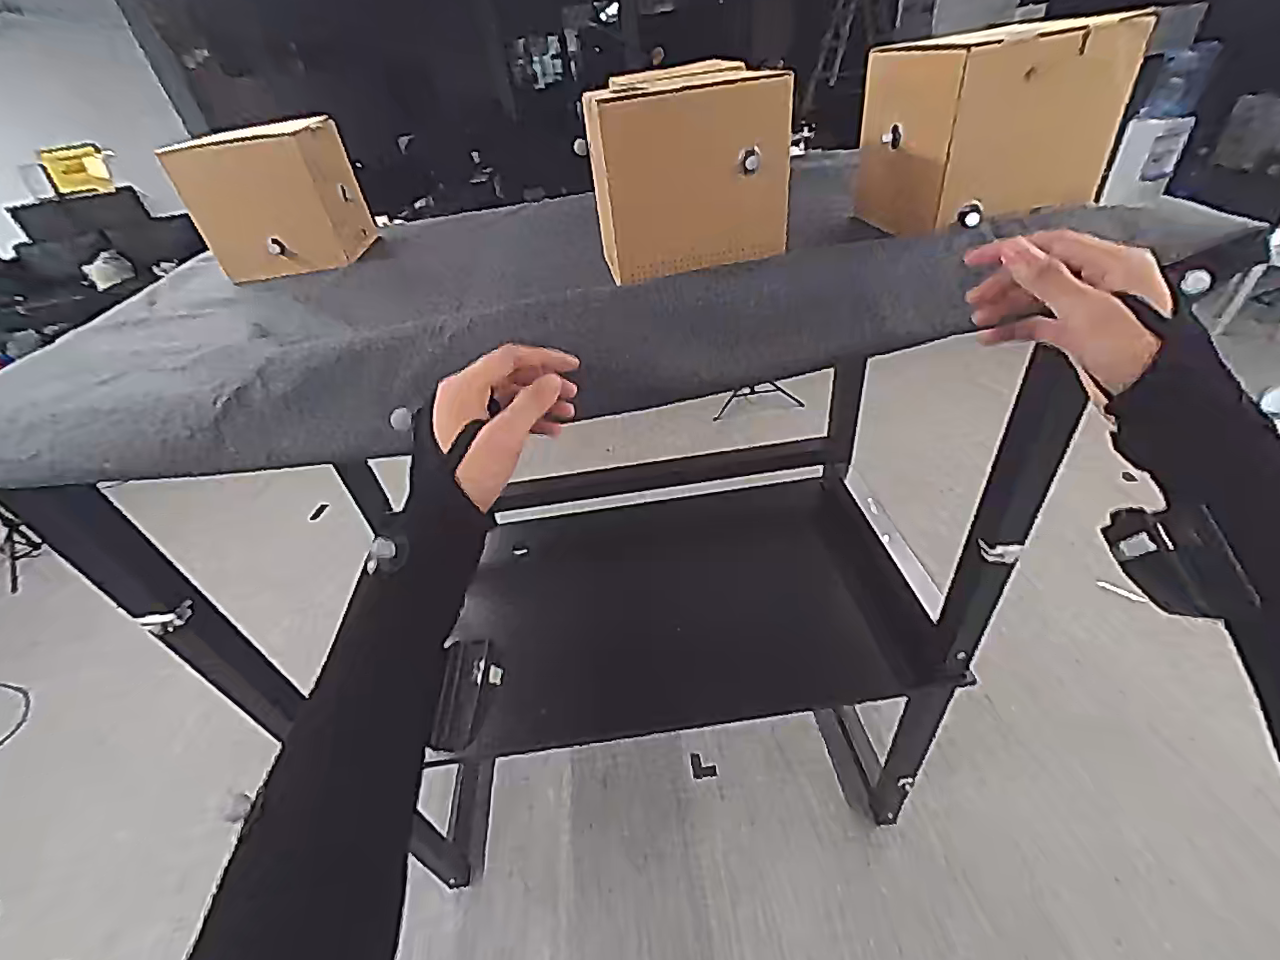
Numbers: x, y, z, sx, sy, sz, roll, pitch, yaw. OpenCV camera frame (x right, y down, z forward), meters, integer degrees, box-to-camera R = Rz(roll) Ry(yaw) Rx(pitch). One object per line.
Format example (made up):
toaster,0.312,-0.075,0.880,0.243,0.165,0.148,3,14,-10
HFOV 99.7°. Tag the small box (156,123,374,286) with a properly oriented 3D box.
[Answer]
small box,-0.517,-0.399,0.783,0.179,0.176,0.168,-9,39,-2

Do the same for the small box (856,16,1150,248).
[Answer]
small box,0.345,-0.352,0.561,0.168,0.176,0.179,-11,38,-2

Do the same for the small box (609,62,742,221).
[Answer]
small box,0.052,-0.494,0.796,0.168,0.176,0.179,-10,39,-1
